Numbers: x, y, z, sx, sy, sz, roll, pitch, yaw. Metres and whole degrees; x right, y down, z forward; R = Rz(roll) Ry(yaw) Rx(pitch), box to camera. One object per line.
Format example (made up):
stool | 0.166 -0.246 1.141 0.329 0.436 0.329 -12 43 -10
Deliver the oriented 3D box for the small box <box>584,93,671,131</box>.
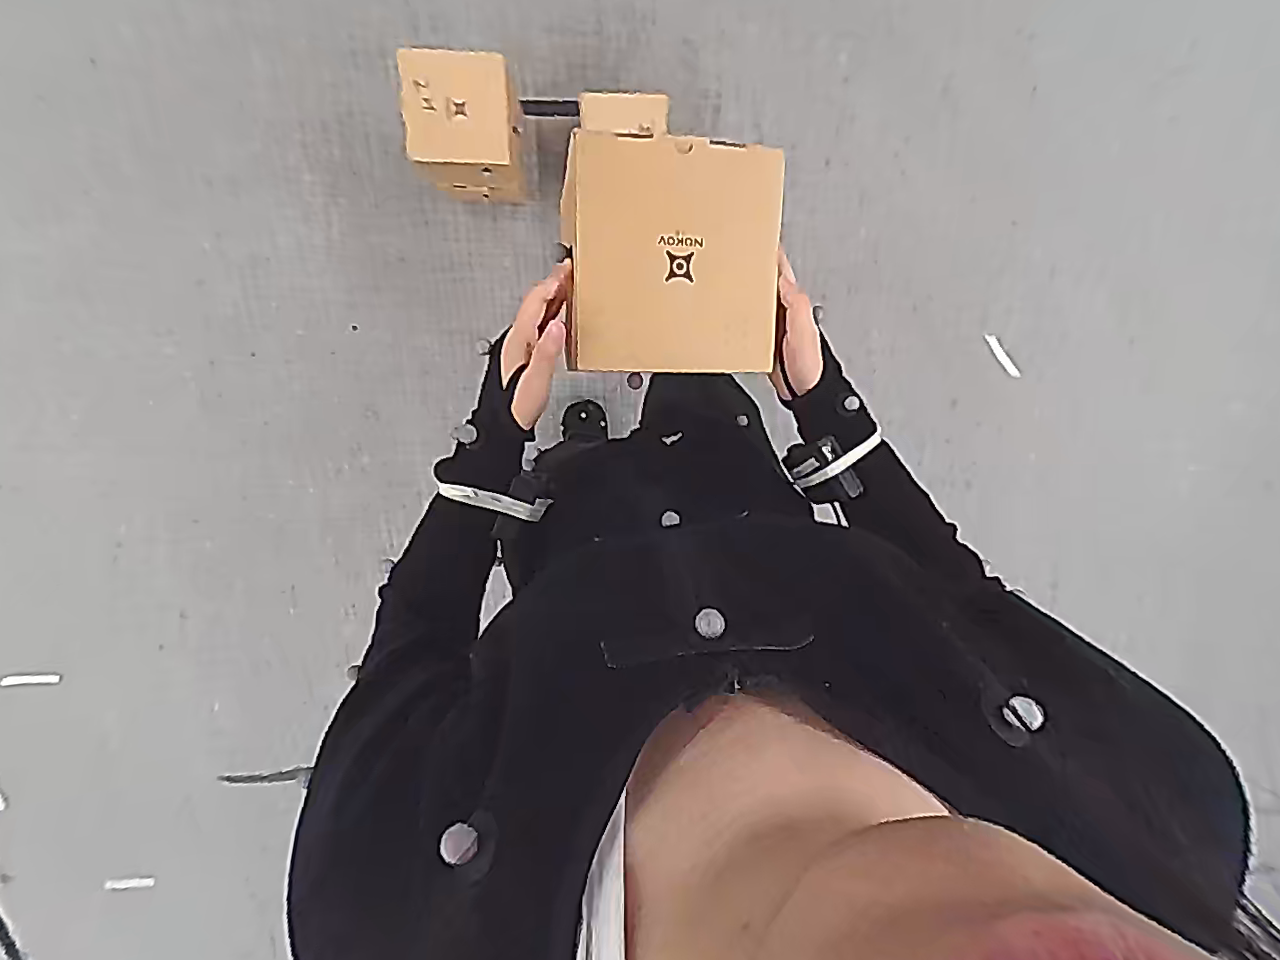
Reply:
small box | -0.031 -0.709 1.168 0.179 0.176 0.168 -1 109 -3

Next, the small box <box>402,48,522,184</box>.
small box | -0.312 -0.652 0.988 0.179 0.176 0.168 0 108 -5

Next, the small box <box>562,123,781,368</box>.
small box | 0.015 -0.194 0.502 0.168 0.176 0.179 -2 101 -11
